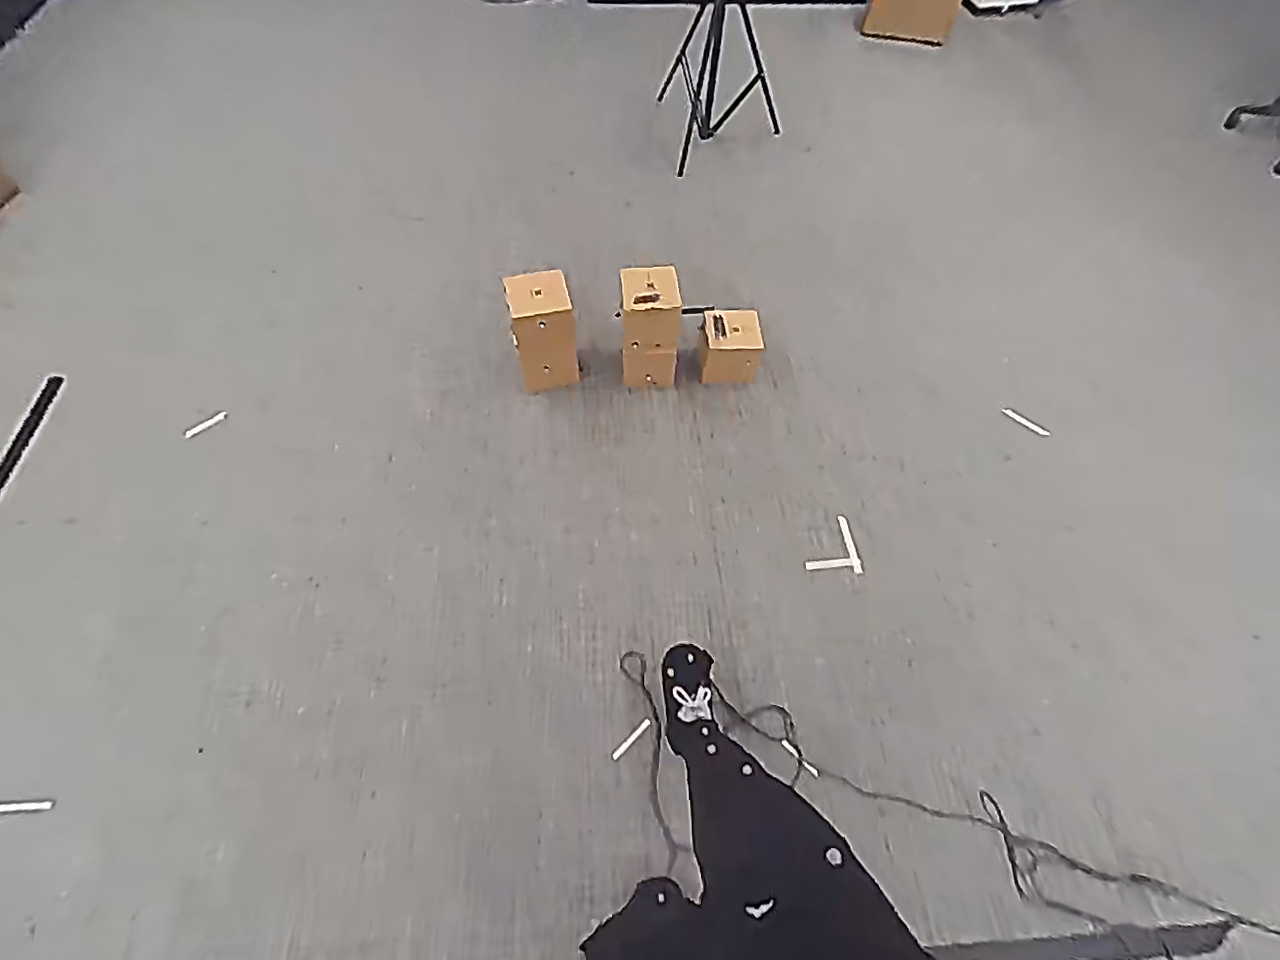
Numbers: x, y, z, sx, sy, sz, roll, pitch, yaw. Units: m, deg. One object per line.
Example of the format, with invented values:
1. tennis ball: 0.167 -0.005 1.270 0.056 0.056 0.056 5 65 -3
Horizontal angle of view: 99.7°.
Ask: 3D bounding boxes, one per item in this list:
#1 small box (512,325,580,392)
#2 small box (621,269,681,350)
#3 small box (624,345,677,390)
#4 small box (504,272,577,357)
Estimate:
1. small box: -0.300 -0.406 1.750 0.179 0.176 0.168 -14 63 -8
2. small box: 0.030 -0.505 1.625 0.168 0.176 0.179 -3 60 -4
3. small box: 0.030 -0.416 1.764 0.168 0.176 0.179 -1 62 -1
4. small box: -0.293 -0.486 1.608 0.179 0.176 0.168 -12 63 -9
